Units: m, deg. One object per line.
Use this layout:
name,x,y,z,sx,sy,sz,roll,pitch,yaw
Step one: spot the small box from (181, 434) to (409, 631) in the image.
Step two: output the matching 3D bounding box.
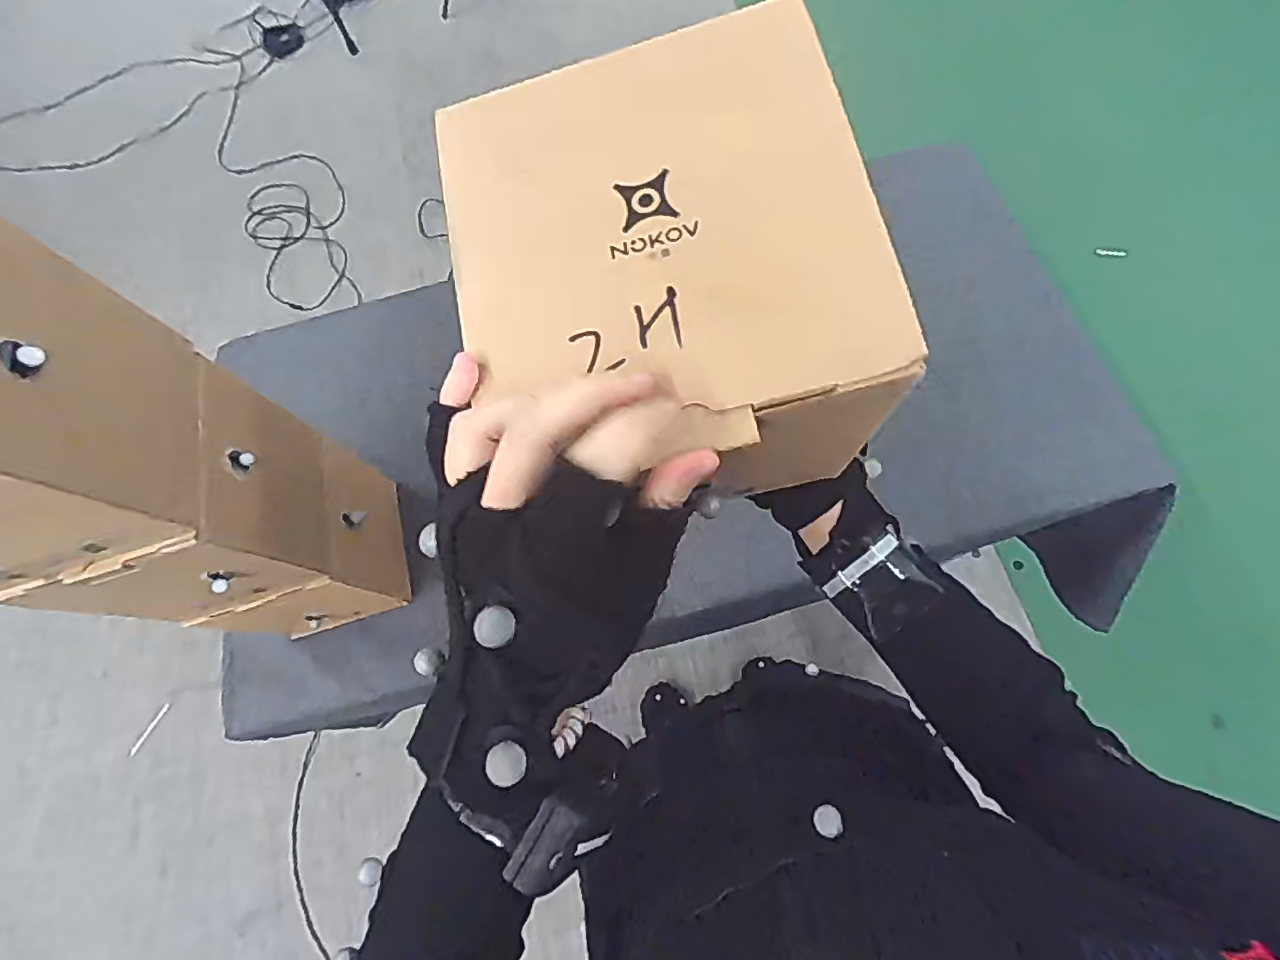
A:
small box,-0.406,0.073,0.657,0.168,0.176,0.179,-17,70,0

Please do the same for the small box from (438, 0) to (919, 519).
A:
small box,0.015,-0.088,0.291,0.168,0.176,0.179,-13,76,8

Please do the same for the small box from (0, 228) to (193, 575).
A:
small box,-0.438,-0.045,0.354,0.168,0.176,0.179,-17,70,-2

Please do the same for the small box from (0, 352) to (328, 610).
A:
small box,-0.421,0.016,0.506,0.168,0.176,0.179,-16,70,-1
